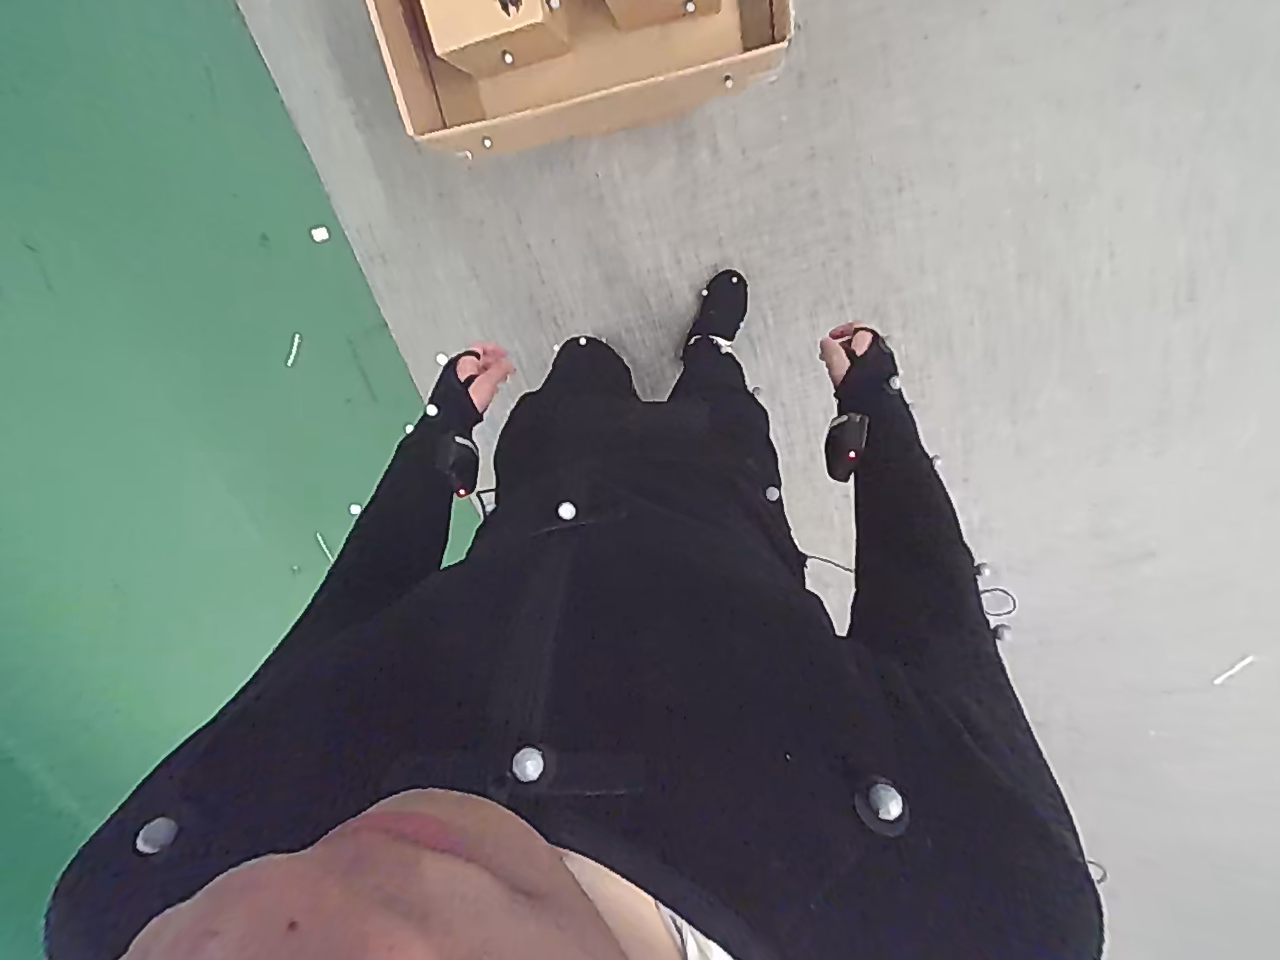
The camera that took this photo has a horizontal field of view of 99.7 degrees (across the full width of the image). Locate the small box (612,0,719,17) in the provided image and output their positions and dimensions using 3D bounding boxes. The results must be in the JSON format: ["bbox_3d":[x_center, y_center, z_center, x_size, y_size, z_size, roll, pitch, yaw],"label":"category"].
[{"bbox_3d":[0.031,-0.793,0.766,0.168,0.176,0.179,-2,116,10],"label":"small box"}]

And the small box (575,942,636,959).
[{"bbox_3d":[-0.097,1.483,1.564,0.168,0.176,0.179,-13,113,14],"label":"small box"}]
